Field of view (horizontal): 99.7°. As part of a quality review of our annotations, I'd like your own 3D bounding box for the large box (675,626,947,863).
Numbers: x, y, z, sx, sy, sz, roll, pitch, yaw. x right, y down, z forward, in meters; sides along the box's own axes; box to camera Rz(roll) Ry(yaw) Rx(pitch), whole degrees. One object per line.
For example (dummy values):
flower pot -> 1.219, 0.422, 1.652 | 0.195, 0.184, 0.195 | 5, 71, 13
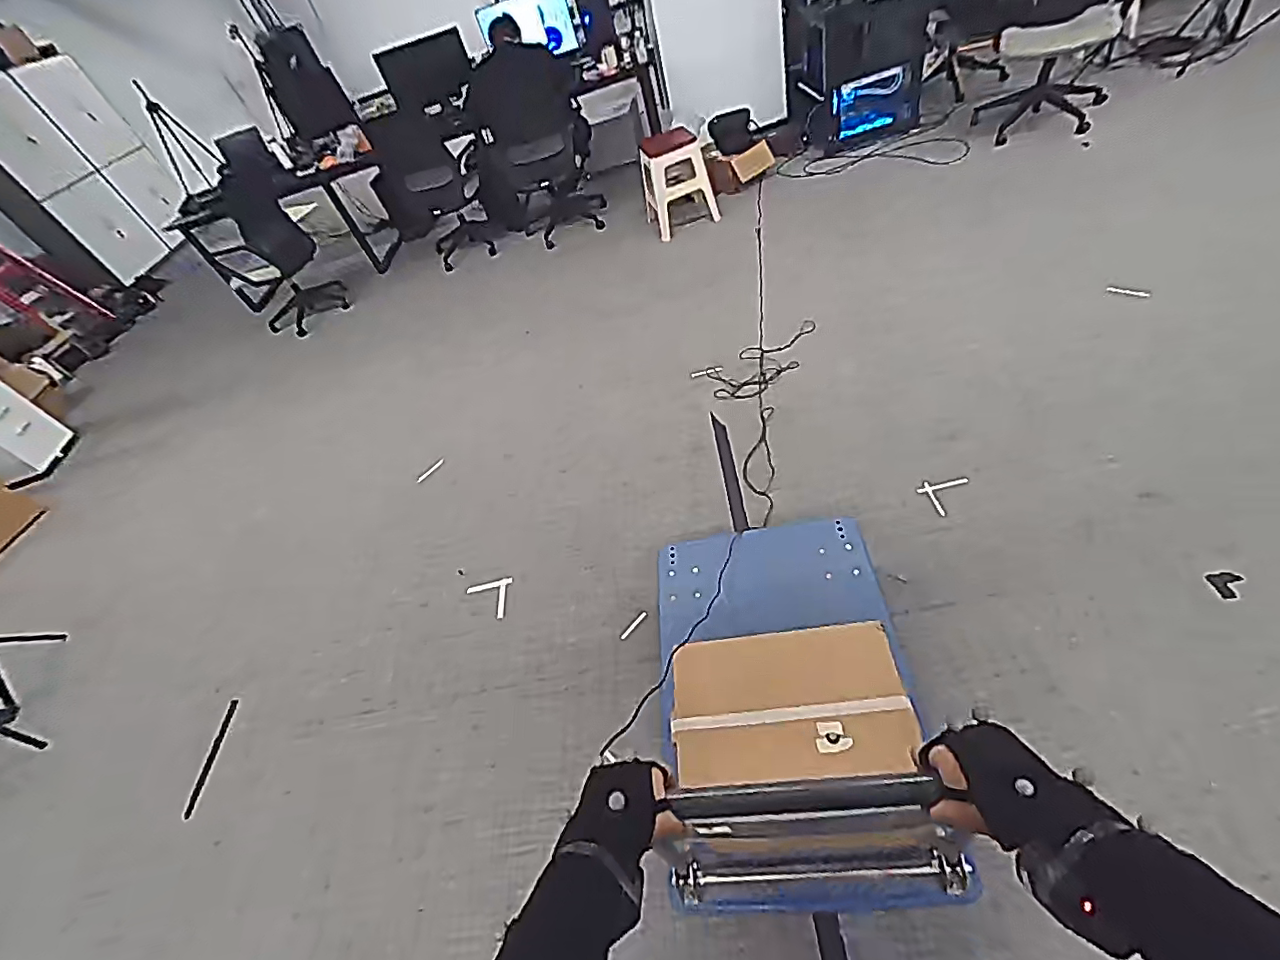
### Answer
large box -> 0.298, 0.516, 1.038 | 0.408, 0.320, 0.320 | -10, 47, 10
